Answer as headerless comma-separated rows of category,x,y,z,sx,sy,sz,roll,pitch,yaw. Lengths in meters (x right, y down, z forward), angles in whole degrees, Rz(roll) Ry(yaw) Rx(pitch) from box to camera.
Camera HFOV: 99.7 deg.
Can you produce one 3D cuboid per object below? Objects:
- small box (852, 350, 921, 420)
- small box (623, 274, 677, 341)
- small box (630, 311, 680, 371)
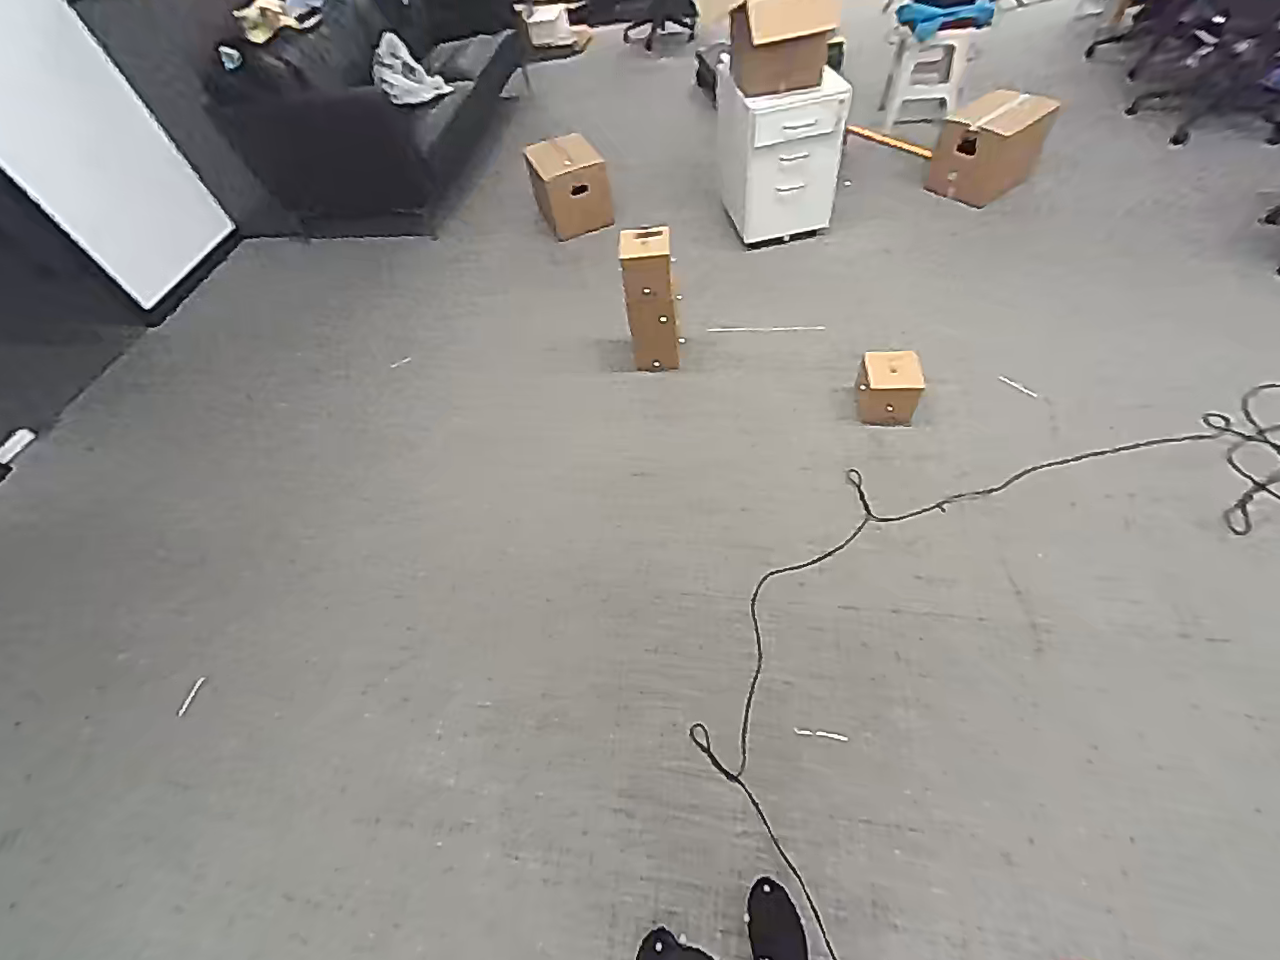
small box,0.829,-0.318,1.833,0.168,0.176,0.179,1,55,9
small box,0.043,-0.633,1.994,0.179,0.176,0.168,-2,52,9
small box,0.064,-0.546,2.131,0.179,0.176,0.168,1,54,9
